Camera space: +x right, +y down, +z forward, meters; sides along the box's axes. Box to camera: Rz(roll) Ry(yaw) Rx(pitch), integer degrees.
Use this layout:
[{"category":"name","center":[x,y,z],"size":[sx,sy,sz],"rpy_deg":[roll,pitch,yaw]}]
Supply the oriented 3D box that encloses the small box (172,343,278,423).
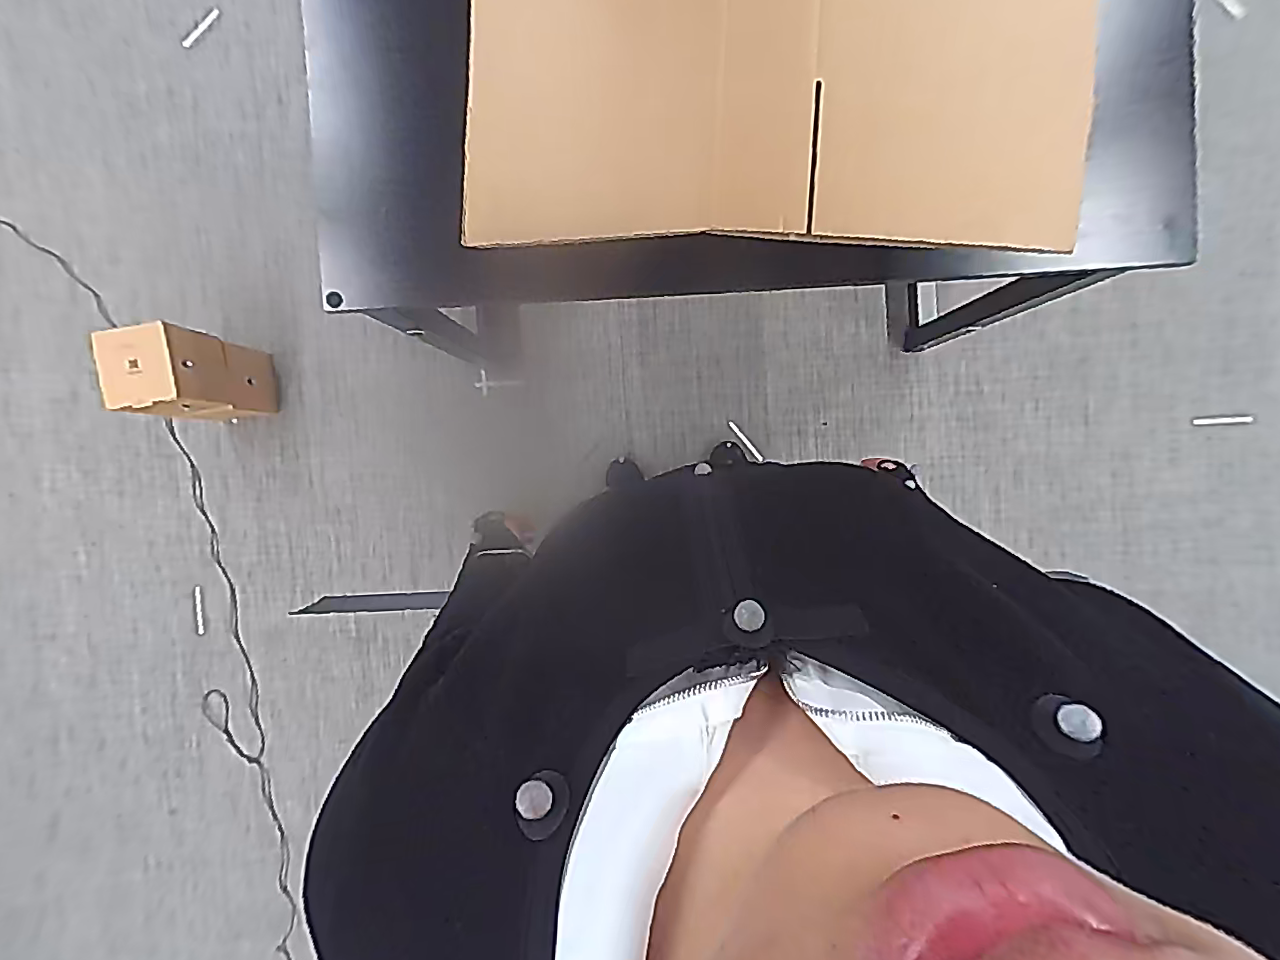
[{"category":"small box","center":[-1.102,-0.252,1.433],"size":[0.168,0.176,0.179],"rpy_deg":[-7,93,2]}]

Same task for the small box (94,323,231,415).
[{"category":"small box","center":[-1.109,-0.251,1.271],"size":[0.168,0.176,0.179],"rpy_deg":[-10,91,1]}]
